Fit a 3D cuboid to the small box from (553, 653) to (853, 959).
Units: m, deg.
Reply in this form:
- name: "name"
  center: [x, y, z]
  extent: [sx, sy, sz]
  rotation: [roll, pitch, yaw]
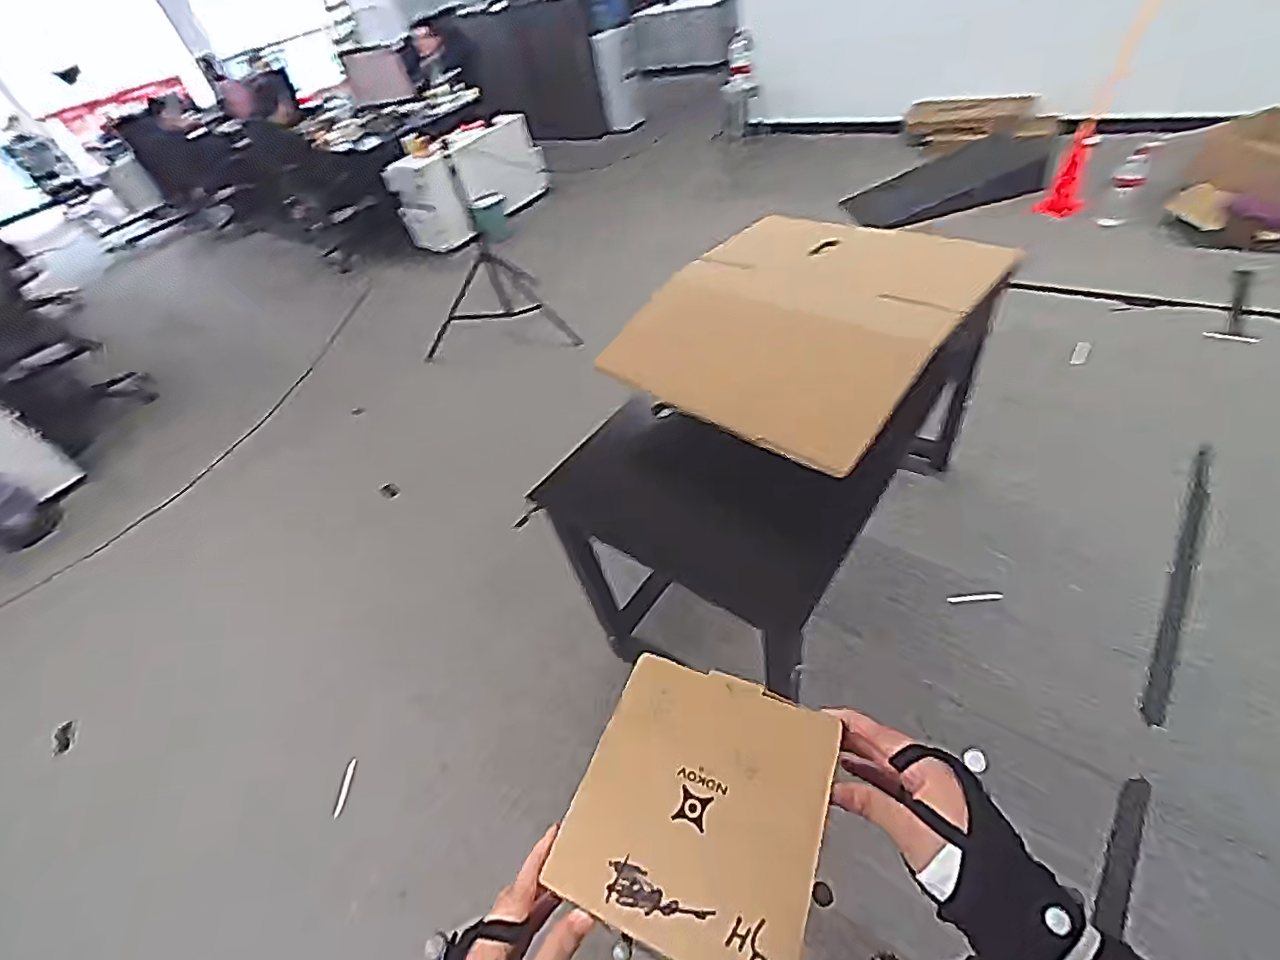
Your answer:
- name: "small box"
  center: [0.060, 0.278, 0.430]
  extent: [0.168, 0.176, 0.179]
  rotation: [12, 47, 25]
